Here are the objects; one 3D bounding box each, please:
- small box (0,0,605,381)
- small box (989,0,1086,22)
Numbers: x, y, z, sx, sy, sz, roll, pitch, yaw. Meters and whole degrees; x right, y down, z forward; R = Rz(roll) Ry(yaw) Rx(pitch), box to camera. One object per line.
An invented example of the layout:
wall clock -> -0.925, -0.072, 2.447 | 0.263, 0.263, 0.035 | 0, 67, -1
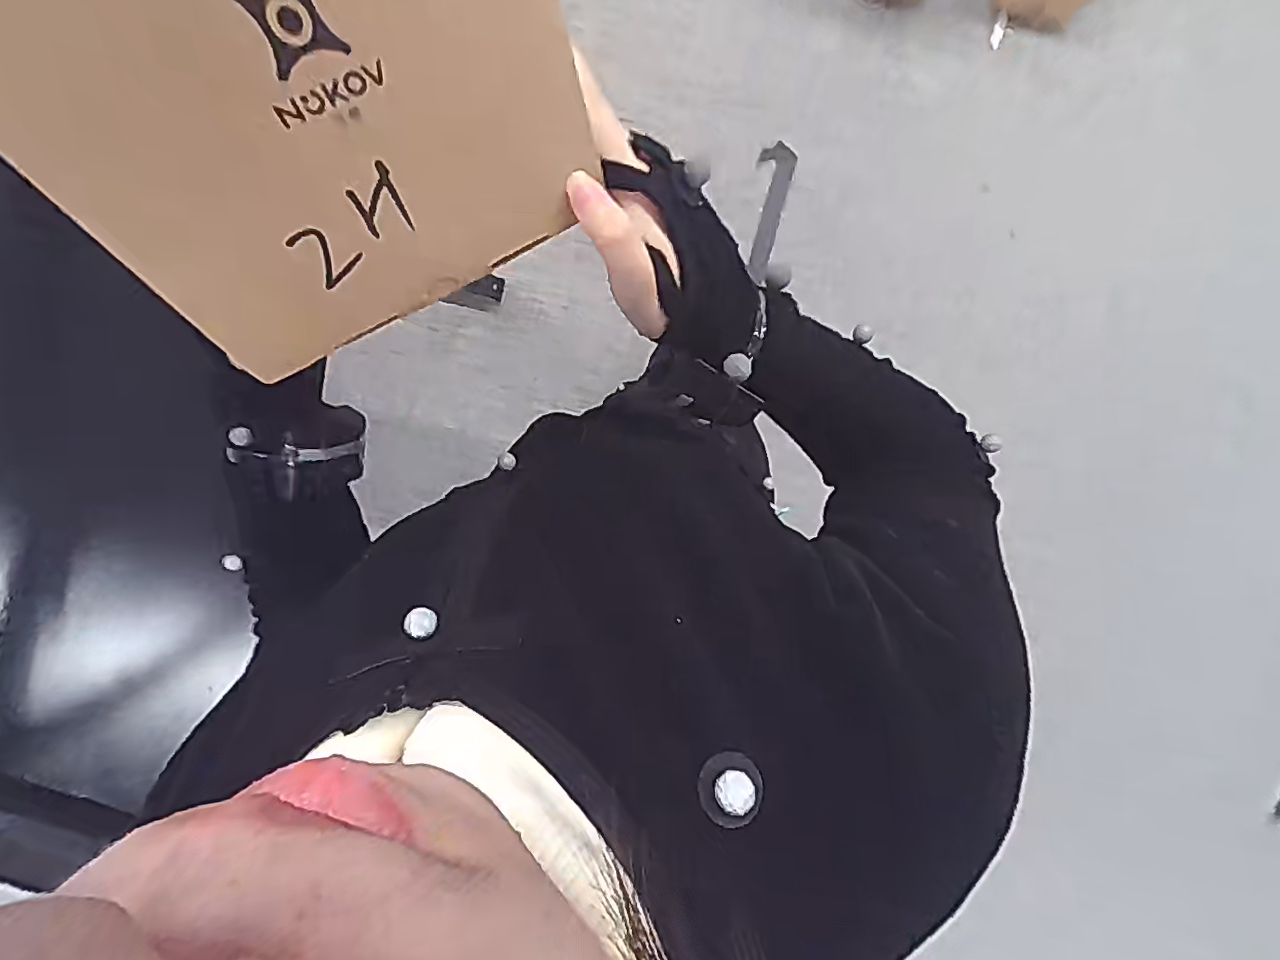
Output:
small box -> -0.138, -0.179, 0.205 | 0.168, 0.179, 0.176 | -30, 55, -9
small box -> 0.884, -1.108, 1.128 | 0.179, 0.176, 0.168 | 14, 101, 1
